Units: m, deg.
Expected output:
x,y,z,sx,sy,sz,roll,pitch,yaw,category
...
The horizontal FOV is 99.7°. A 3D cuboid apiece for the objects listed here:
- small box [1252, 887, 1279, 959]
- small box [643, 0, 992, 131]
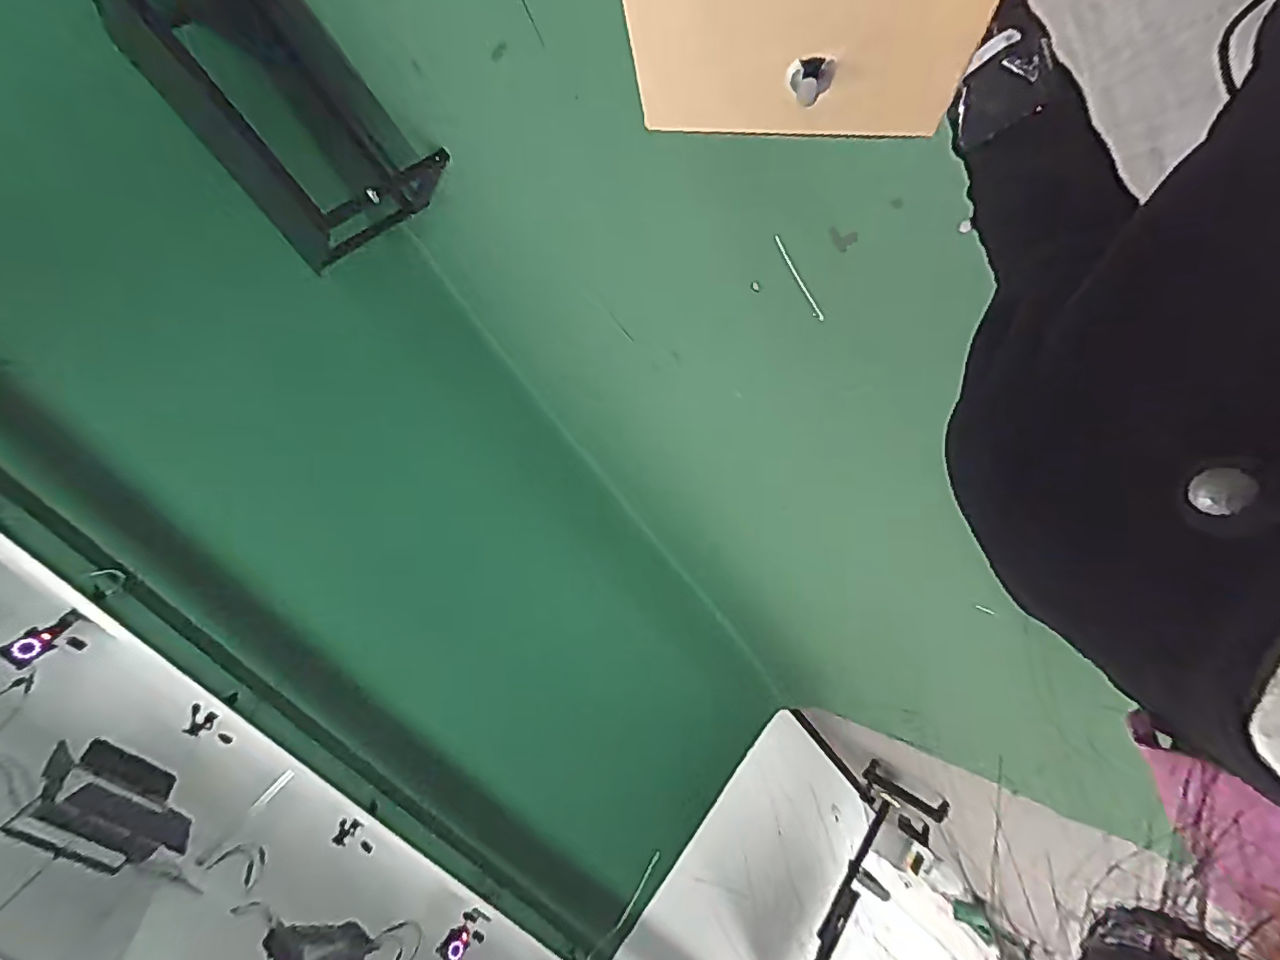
x,y,z,sx,sy,sz,roll,pitch,yaw,category
1.388,0.980,1.083,0.179,0.176,0.168,51,154,-13,small box
0.091,-0.305,0.257,0.179,0.168,0.176,7,172,11,small box
